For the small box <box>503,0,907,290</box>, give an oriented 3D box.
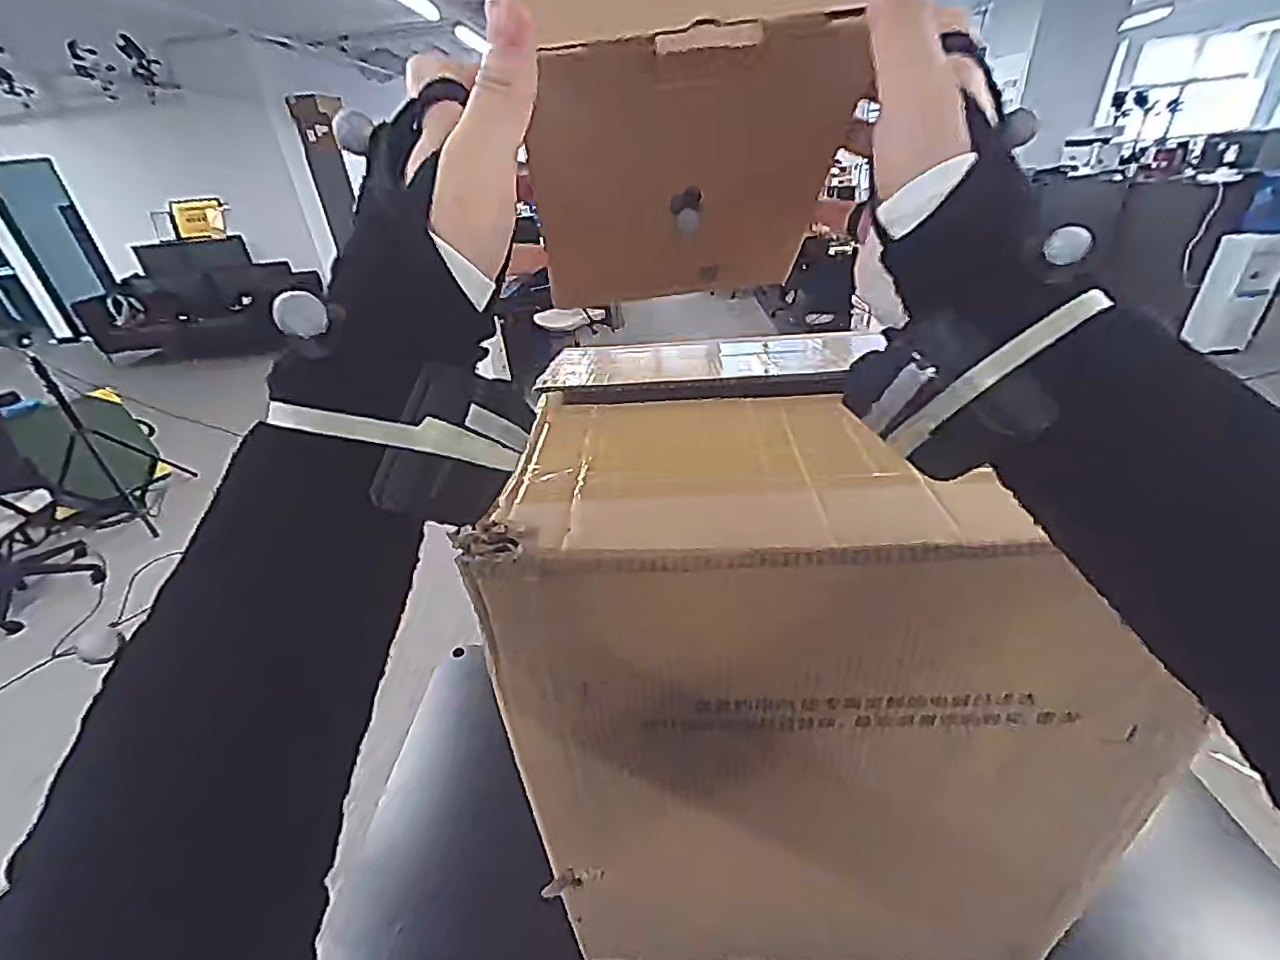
[{"bbox_3d":[0.015,-0.231,0.315,0.168,0.176,0.179,-9,73,-4],"label":"small box"}]
